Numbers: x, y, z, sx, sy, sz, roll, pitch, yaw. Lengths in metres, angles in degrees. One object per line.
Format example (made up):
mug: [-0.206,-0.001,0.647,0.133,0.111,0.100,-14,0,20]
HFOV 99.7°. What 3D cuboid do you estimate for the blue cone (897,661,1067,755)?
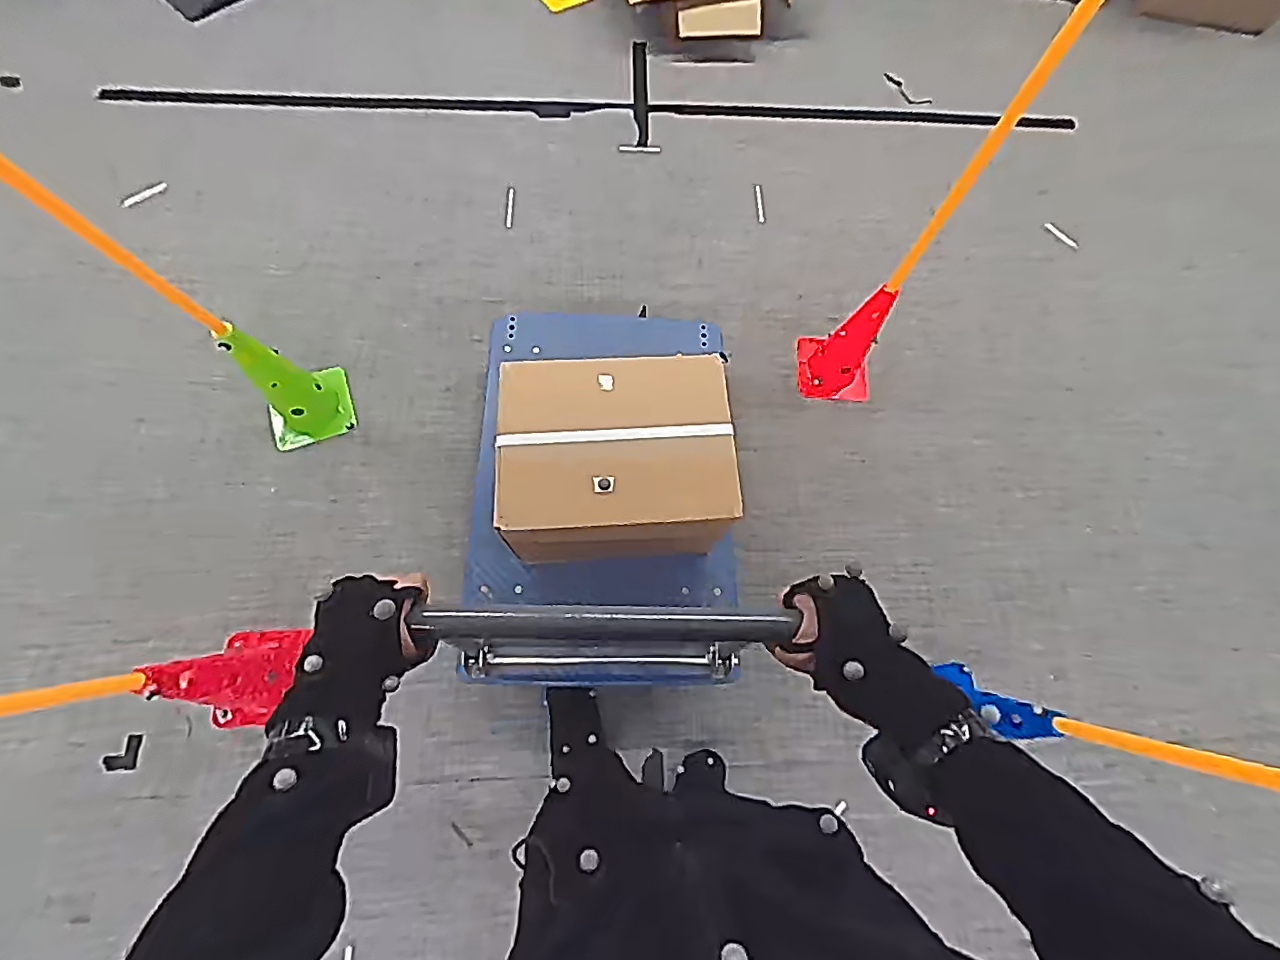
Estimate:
blue cone: [0.722,0.475,1.114,0.193,0.380,0.192,-4,70,-5]

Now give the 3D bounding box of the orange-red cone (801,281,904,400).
orange-red cone: [0.572,-0.380,1.389,0.199,0.360,0.198,6,71,-2]
